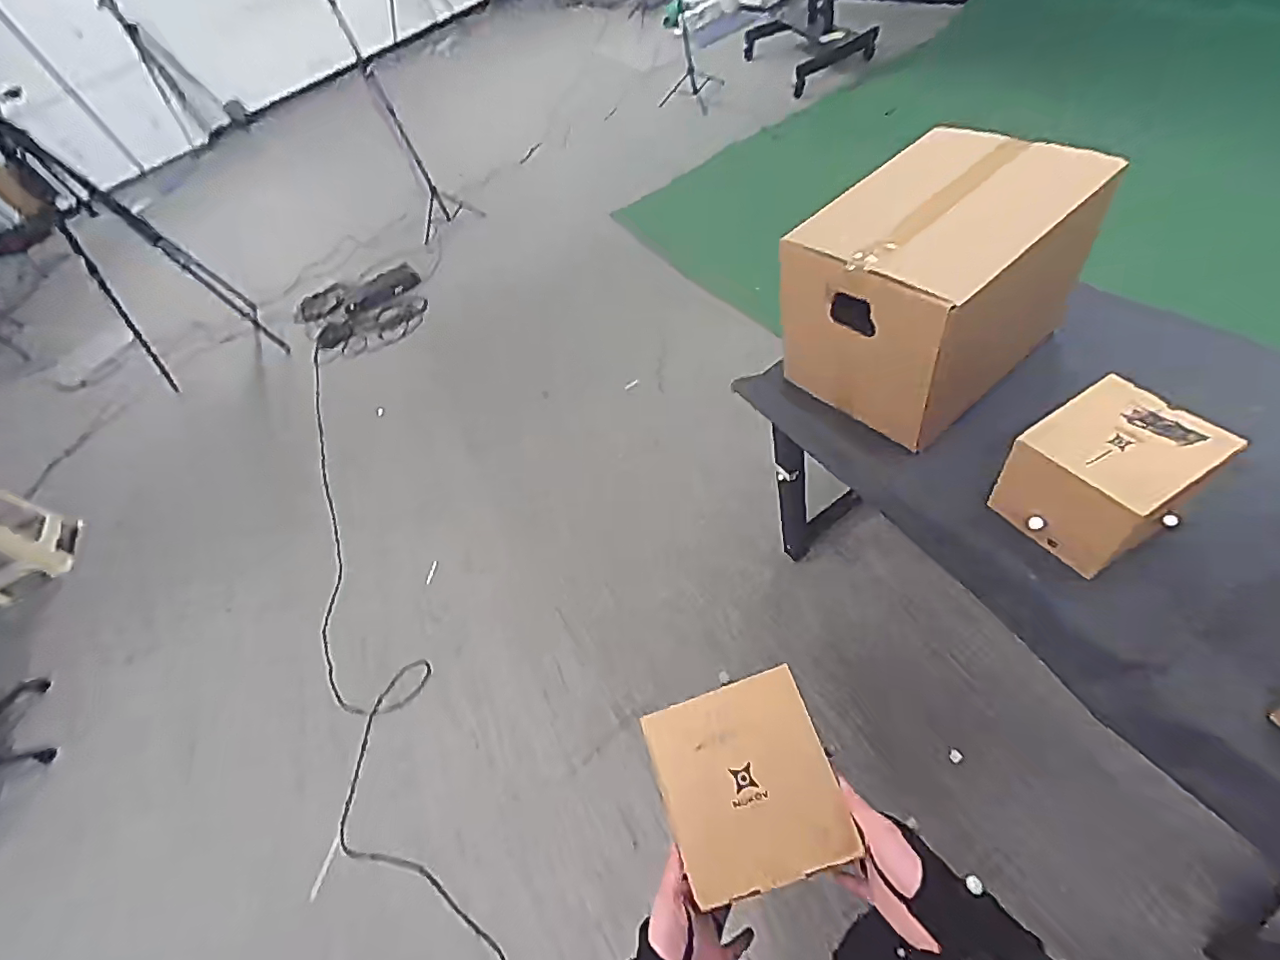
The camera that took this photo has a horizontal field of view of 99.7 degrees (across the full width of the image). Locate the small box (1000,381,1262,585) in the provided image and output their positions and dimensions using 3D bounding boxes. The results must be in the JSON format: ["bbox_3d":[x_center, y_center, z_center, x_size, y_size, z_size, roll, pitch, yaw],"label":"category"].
[{"bbox_3d":[0.632,0.008,0.727,0.179,0.176,0.168,-32,52,-6],"label":"small box"}]
